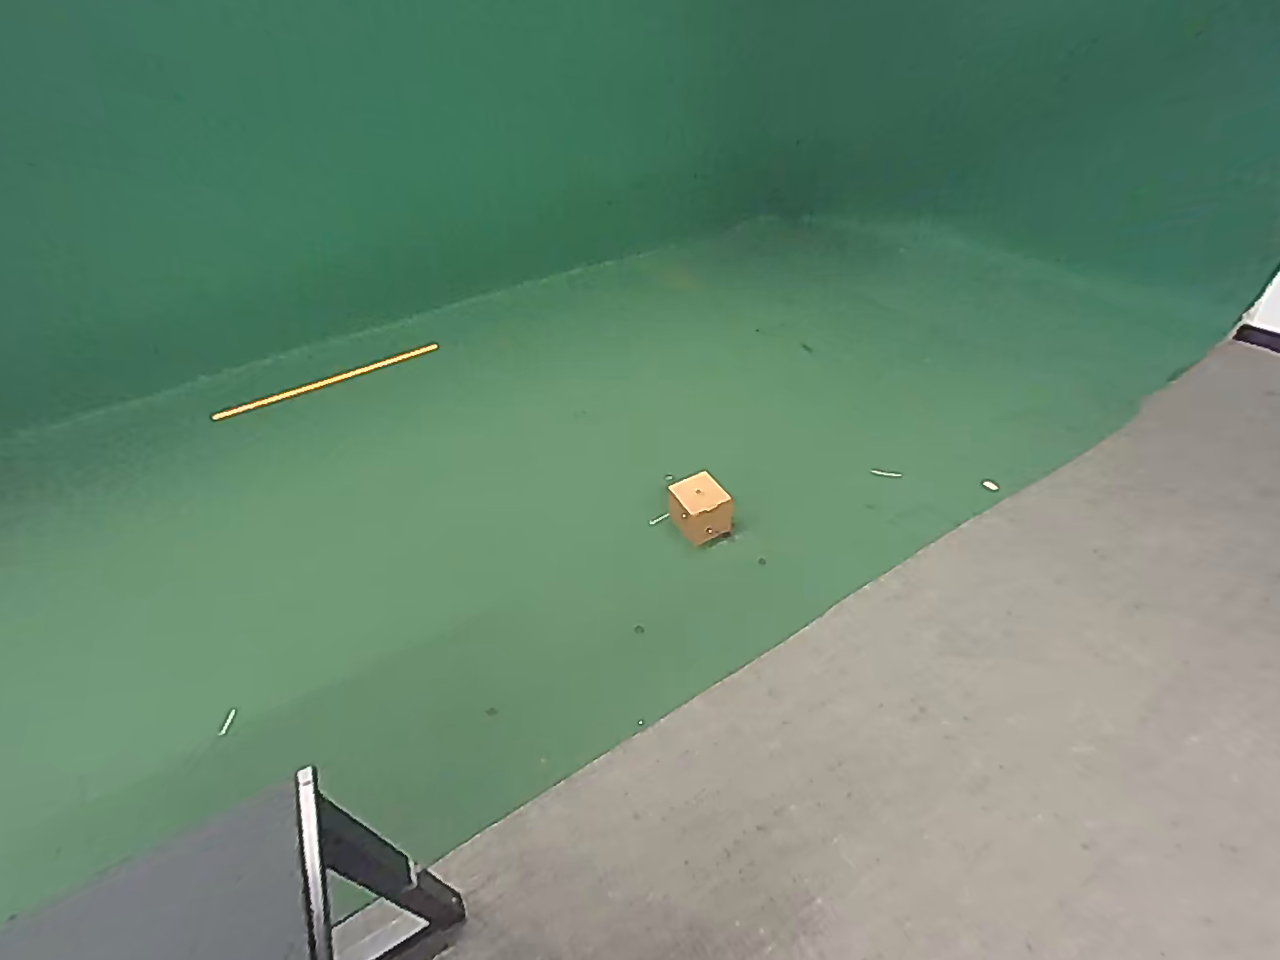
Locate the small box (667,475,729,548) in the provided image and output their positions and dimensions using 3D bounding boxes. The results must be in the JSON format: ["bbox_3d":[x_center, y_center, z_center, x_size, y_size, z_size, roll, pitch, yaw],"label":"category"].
[{"bbox_3d":[0.212,0.118,1.995,0.168,0.176,0.179,-22,45,-17],"label":"small box"}]
